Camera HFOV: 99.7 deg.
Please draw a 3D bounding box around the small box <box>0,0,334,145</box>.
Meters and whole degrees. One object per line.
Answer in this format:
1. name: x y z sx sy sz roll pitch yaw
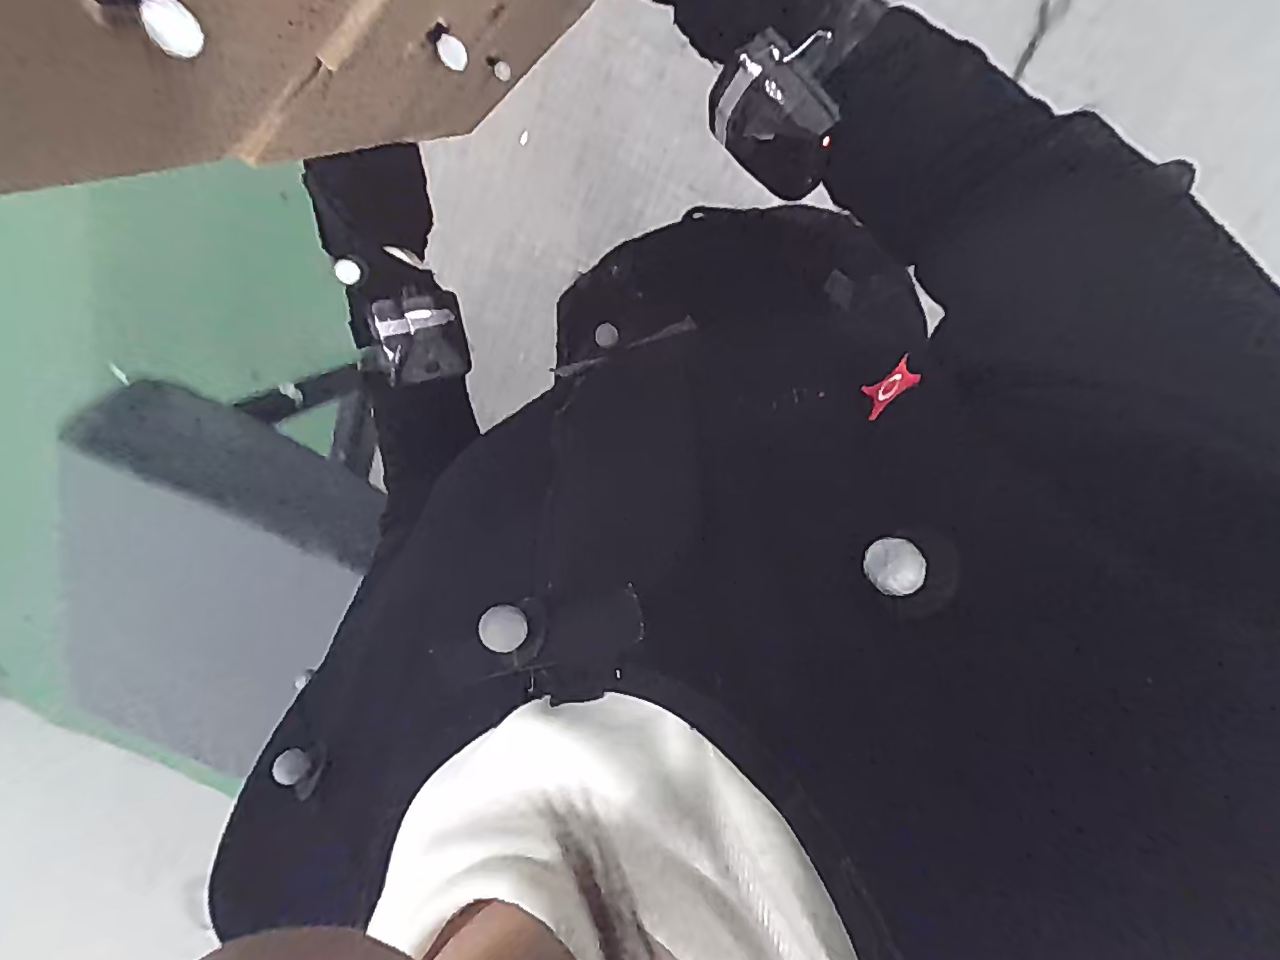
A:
1. small box: -0.150 -0.191 0.092 0.179 0.176 0.168 -26 120 23
